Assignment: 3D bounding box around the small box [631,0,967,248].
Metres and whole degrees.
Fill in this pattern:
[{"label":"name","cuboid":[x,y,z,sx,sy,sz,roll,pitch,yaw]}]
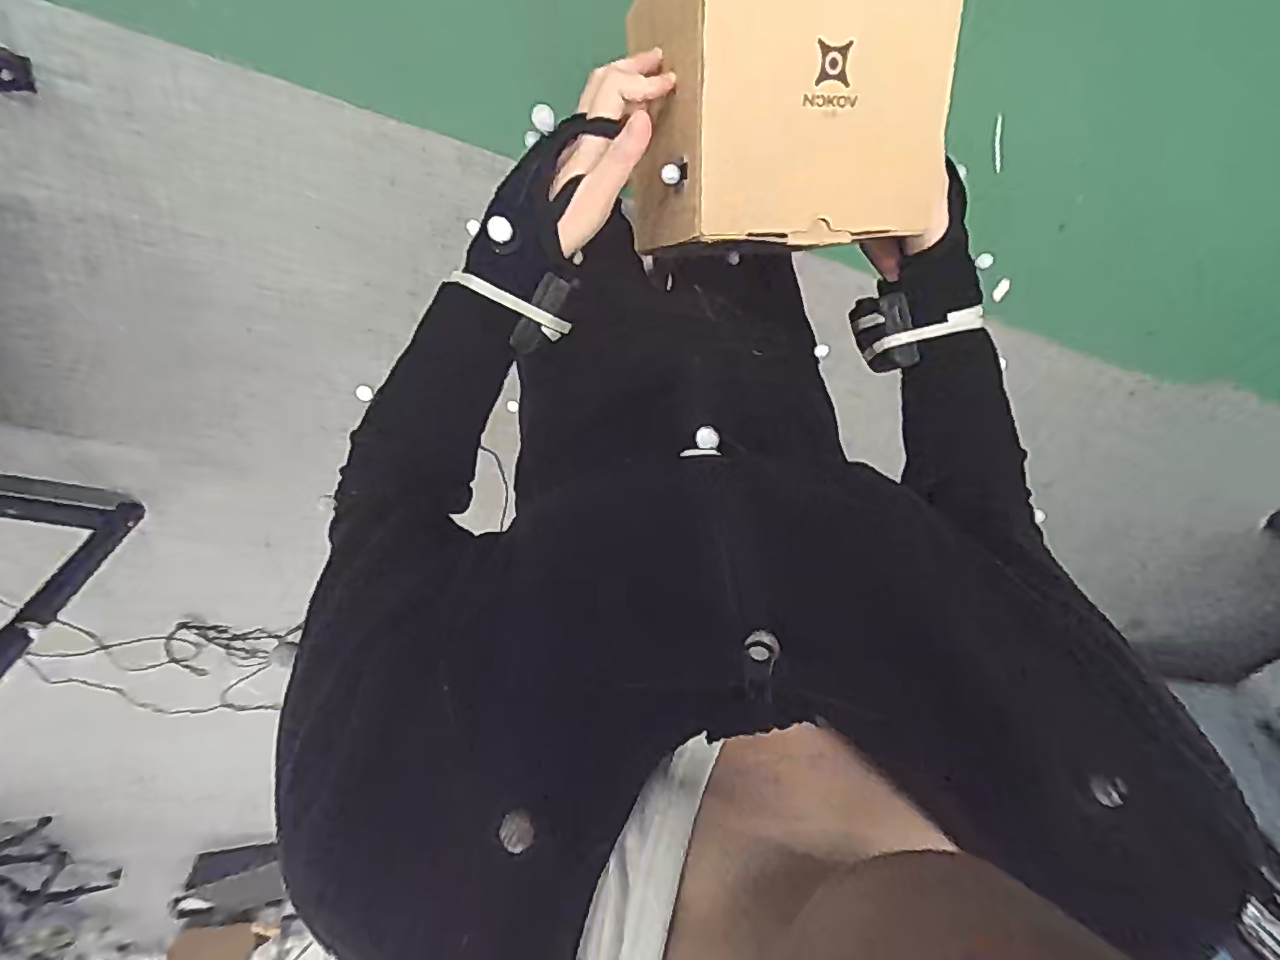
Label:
[{"label":"small box","cuboid":[0.092,-0.267,0.383,0.168,0.176,0.179,-7,112,-12]}]
